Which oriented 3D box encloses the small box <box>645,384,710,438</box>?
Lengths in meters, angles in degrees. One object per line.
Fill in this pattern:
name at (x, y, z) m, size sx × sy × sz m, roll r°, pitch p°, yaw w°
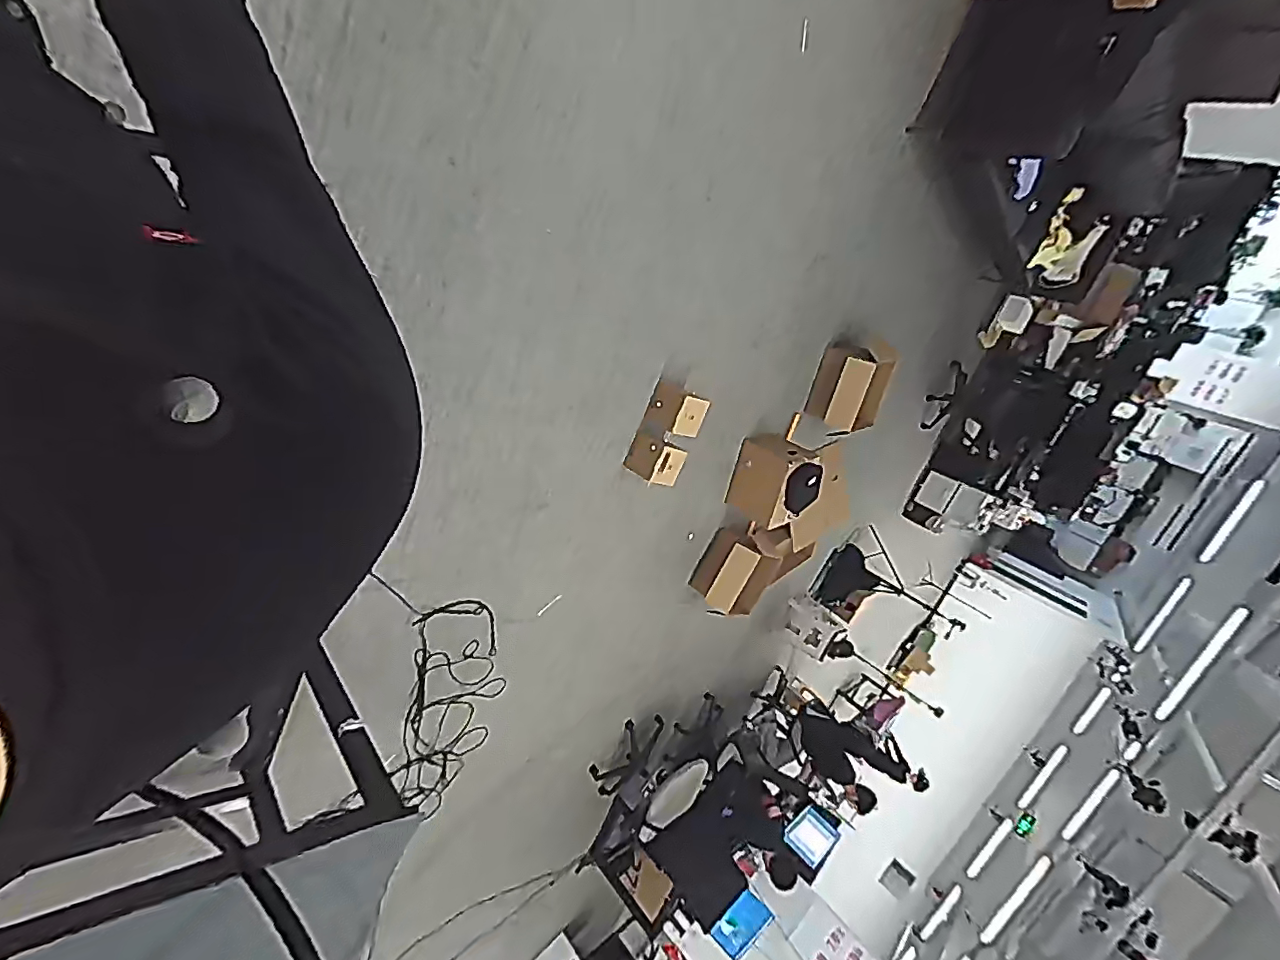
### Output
small box at (0.156, -0.291, 2.270) m, size 0.179 × 0.176 × 0.168 m, roll 4°, pitch 112°, yaw -49°
